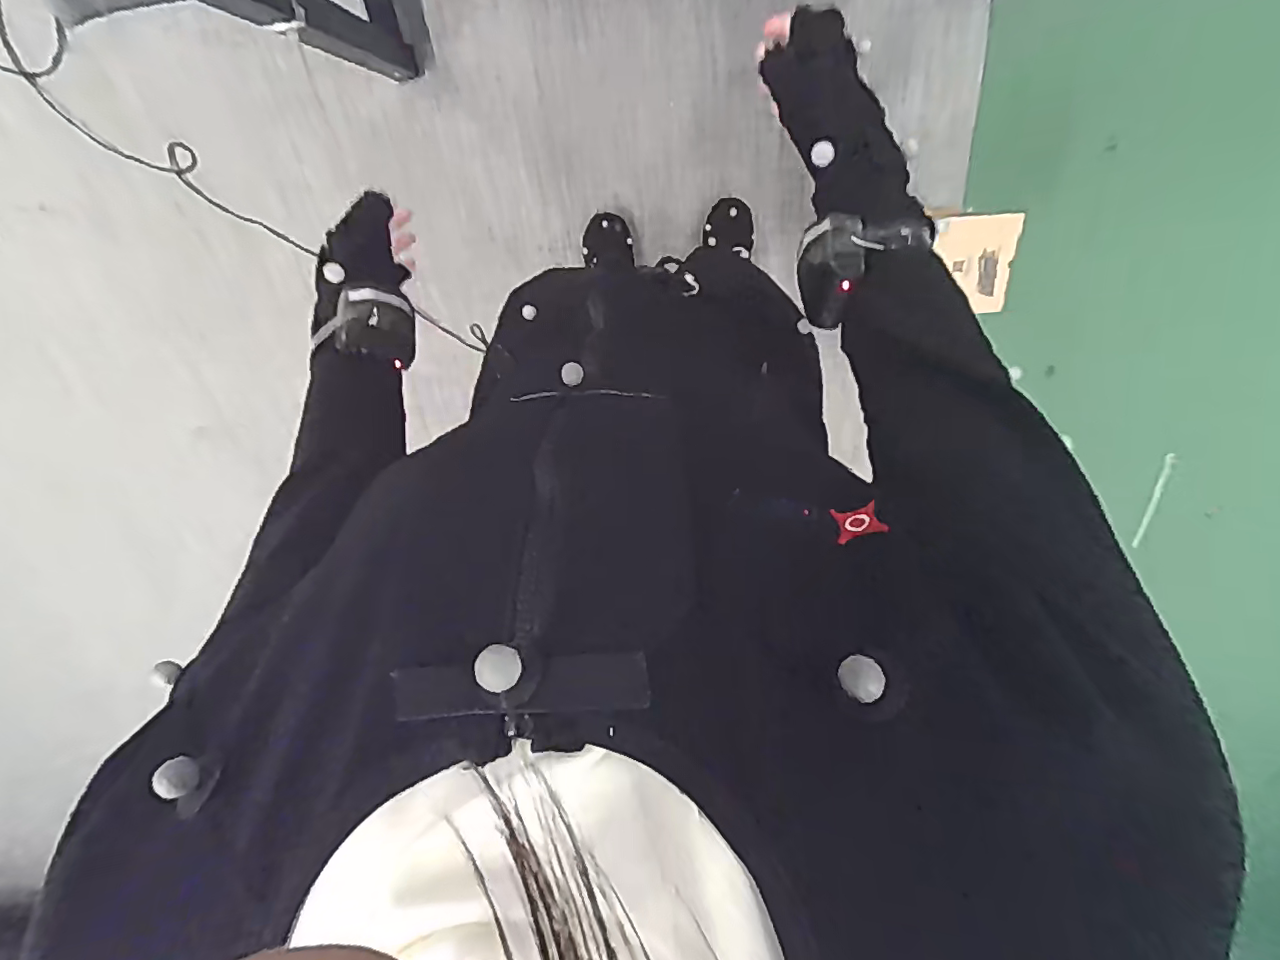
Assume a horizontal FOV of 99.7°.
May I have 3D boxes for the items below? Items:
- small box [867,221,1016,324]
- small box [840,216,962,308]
[{"bbox_3d":[0.560,-0.399,1.031,0.179,0.176,0.168,-2,117,2],"label":"small box"},{"bbox_3d":[0.557,-0.478,1.177,0.179,0.176,0.168,-3,117,3],"label":"small box"}]
